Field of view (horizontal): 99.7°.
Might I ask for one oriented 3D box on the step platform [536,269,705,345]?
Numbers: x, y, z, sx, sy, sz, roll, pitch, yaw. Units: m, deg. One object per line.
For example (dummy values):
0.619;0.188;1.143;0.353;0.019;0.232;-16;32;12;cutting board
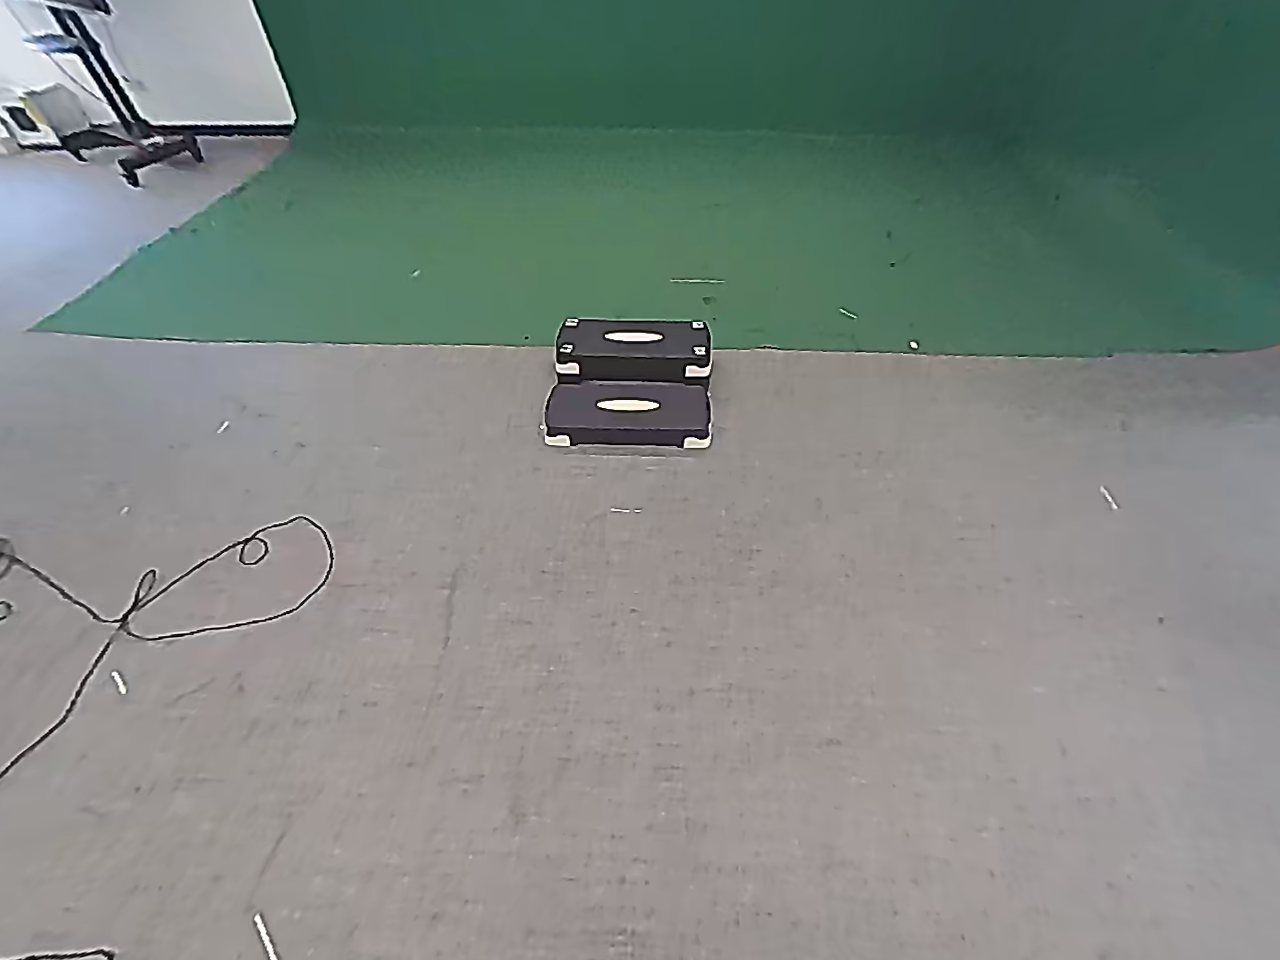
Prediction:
-0.075;-0.718;2.255;0.684;0.204;0.286;1;49;2;step platform
